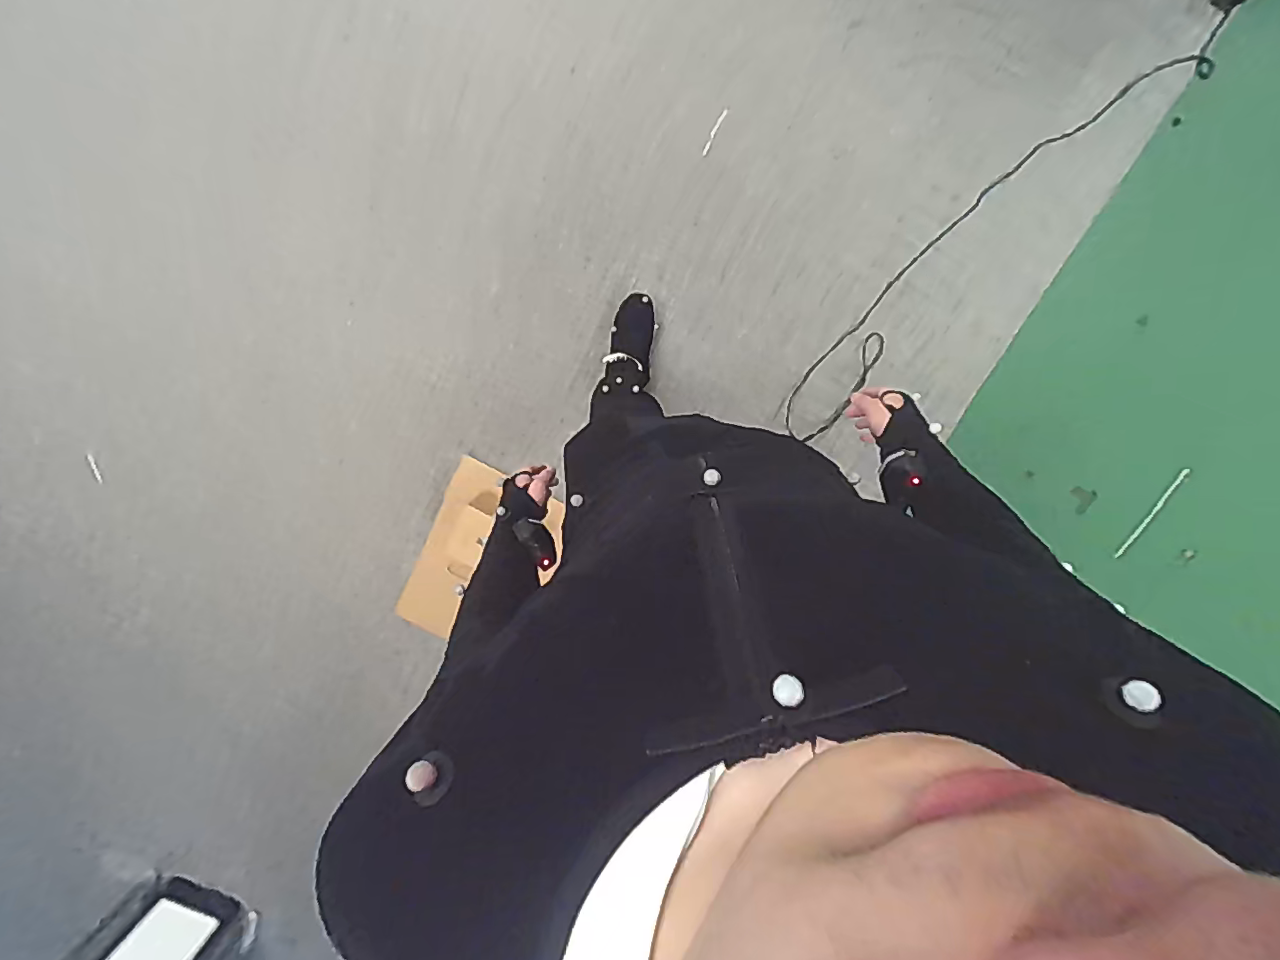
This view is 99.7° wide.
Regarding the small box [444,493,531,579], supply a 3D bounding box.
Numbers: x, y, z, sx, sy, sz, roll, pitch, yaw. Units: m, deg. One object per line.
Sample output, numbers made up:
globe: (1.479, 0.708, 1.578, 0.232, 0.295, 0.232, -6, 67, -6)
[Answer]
small box: (-0.443, 0.157, 1.600, 0.179, 0.176, 0.168, 28, 103, -5)
